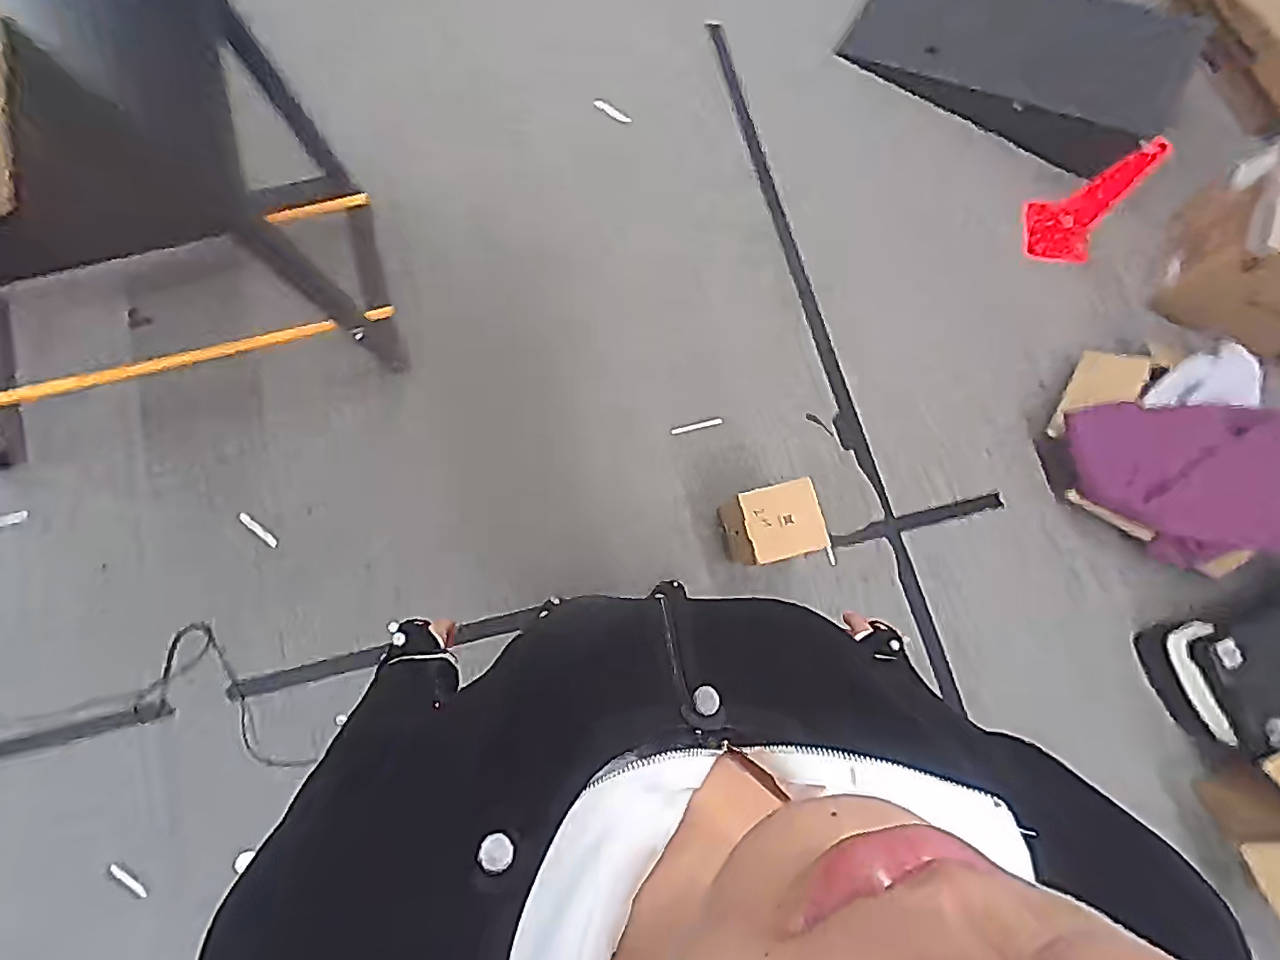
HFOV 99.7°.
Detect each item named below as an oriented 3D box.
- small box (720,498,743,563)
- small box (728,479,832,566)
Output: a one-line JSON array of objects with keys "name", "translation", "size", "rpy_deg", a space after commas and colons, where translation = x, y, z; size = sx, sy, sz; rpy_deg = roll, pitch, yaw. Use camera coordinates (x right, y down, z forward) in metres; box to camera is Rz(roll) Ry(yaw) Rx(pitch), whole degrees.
[{"name": "small box", "translation": [0.329, 0.124, 1.458], "size": [0.179, 0.176, 0.168], "rpy_deg": [-14, 80, -2]}, {"name": "small box", "translation": [0.326, 0.106, 1.293], "size": [0.179, 0.176, 0.168], "rpy_deg": [-14, 80, -3]}]
